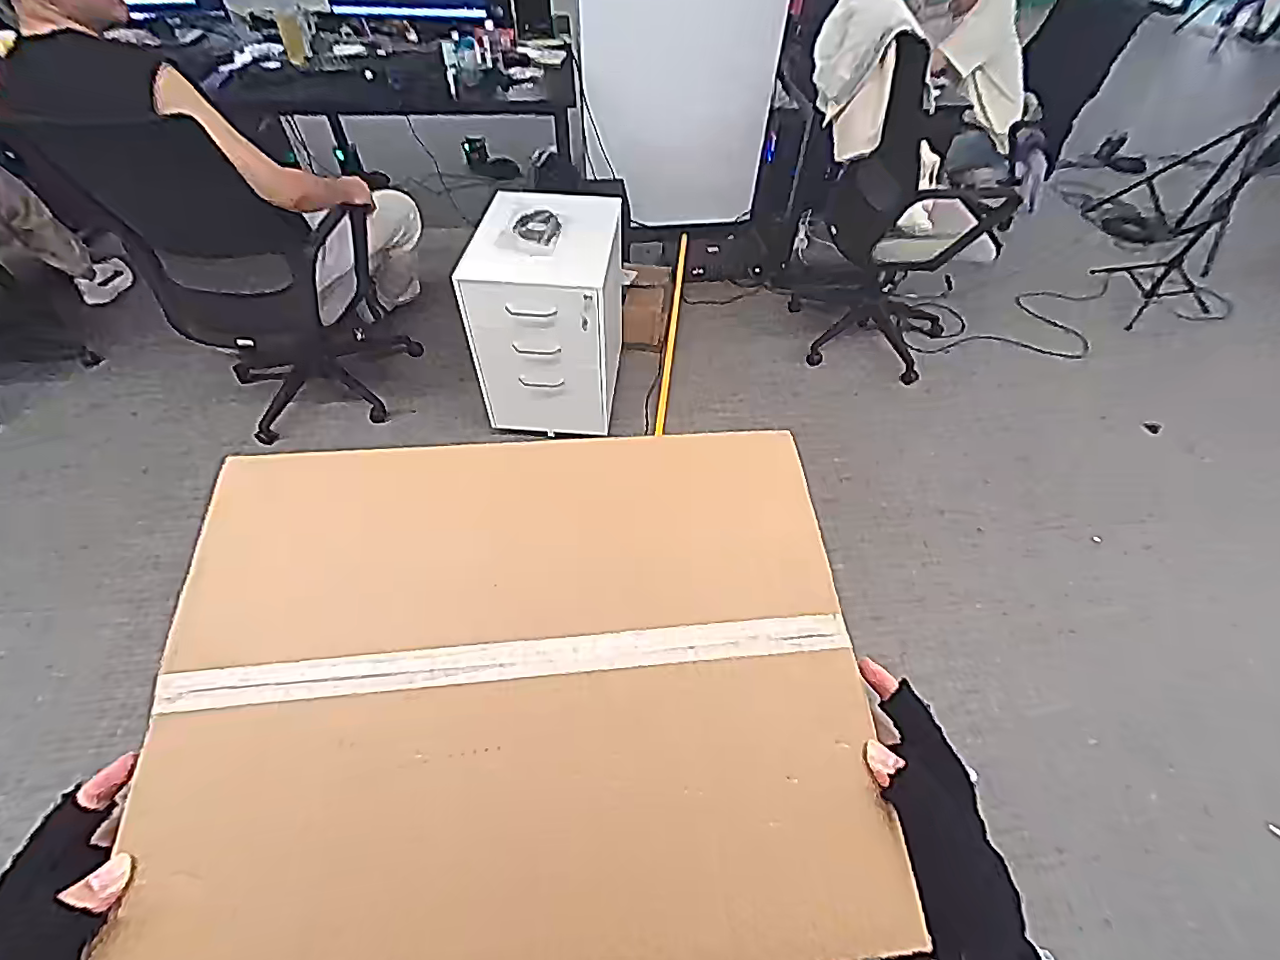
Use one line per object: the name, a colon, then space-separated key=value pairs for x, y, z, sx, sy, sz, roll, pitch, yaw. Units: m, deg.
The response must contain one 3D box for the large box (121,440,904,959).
large box: x=-0.078 y=0.186 z=0.469 sx=0.408 sy=0.320 sz=0.320 roll=-3 pitch=63 yaw=-6
